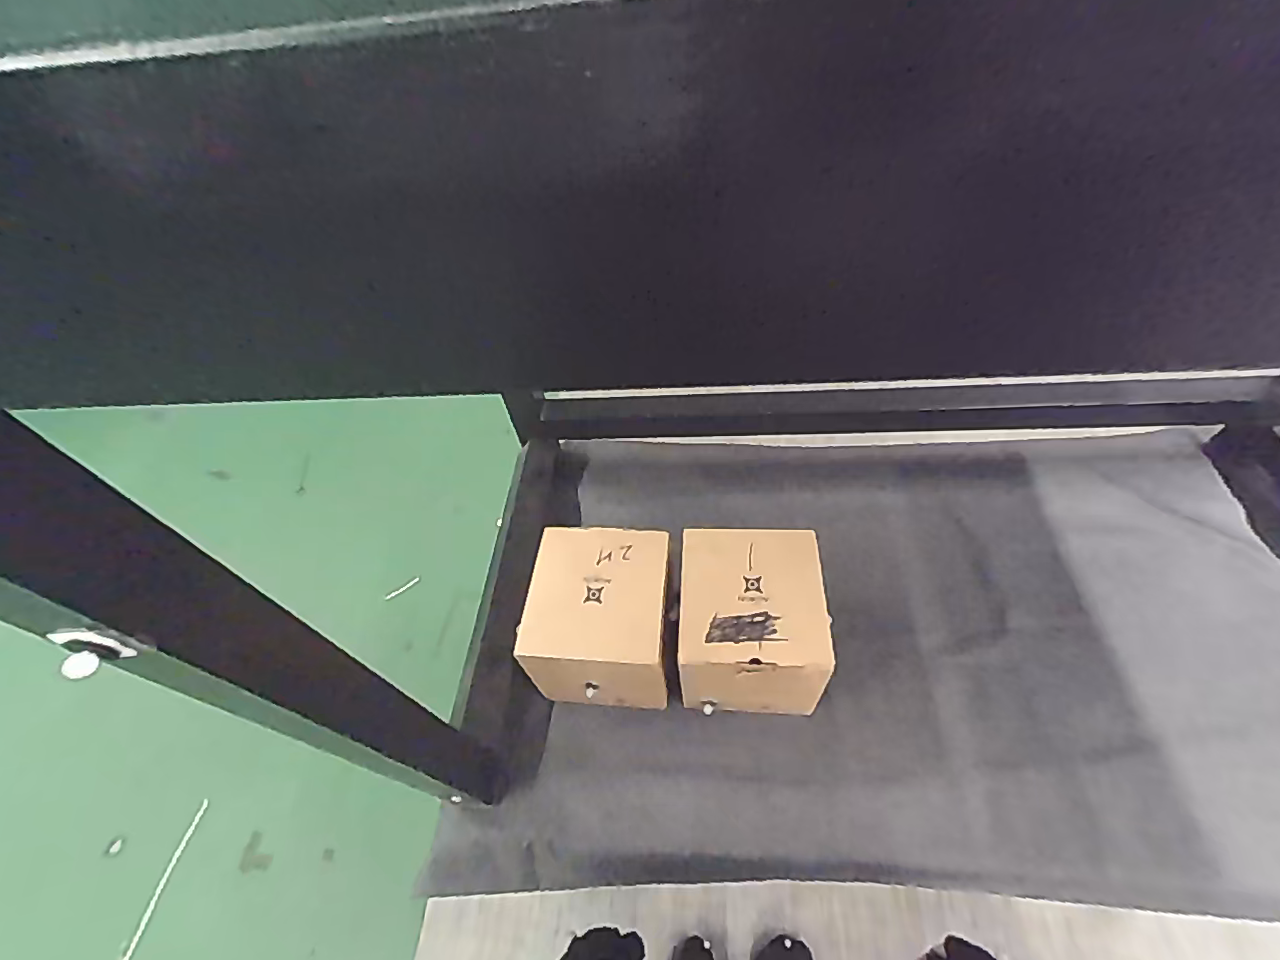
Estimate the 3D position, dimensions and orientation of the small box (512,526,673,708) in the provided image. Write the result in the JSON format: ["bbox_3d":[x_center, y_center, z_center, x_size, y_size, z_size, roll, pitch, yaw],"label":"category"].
[{"bbox_3d":[-0.046,0.181,0.702,0.168,0.176,0.179,2,52,8],"label":"small box"}]
